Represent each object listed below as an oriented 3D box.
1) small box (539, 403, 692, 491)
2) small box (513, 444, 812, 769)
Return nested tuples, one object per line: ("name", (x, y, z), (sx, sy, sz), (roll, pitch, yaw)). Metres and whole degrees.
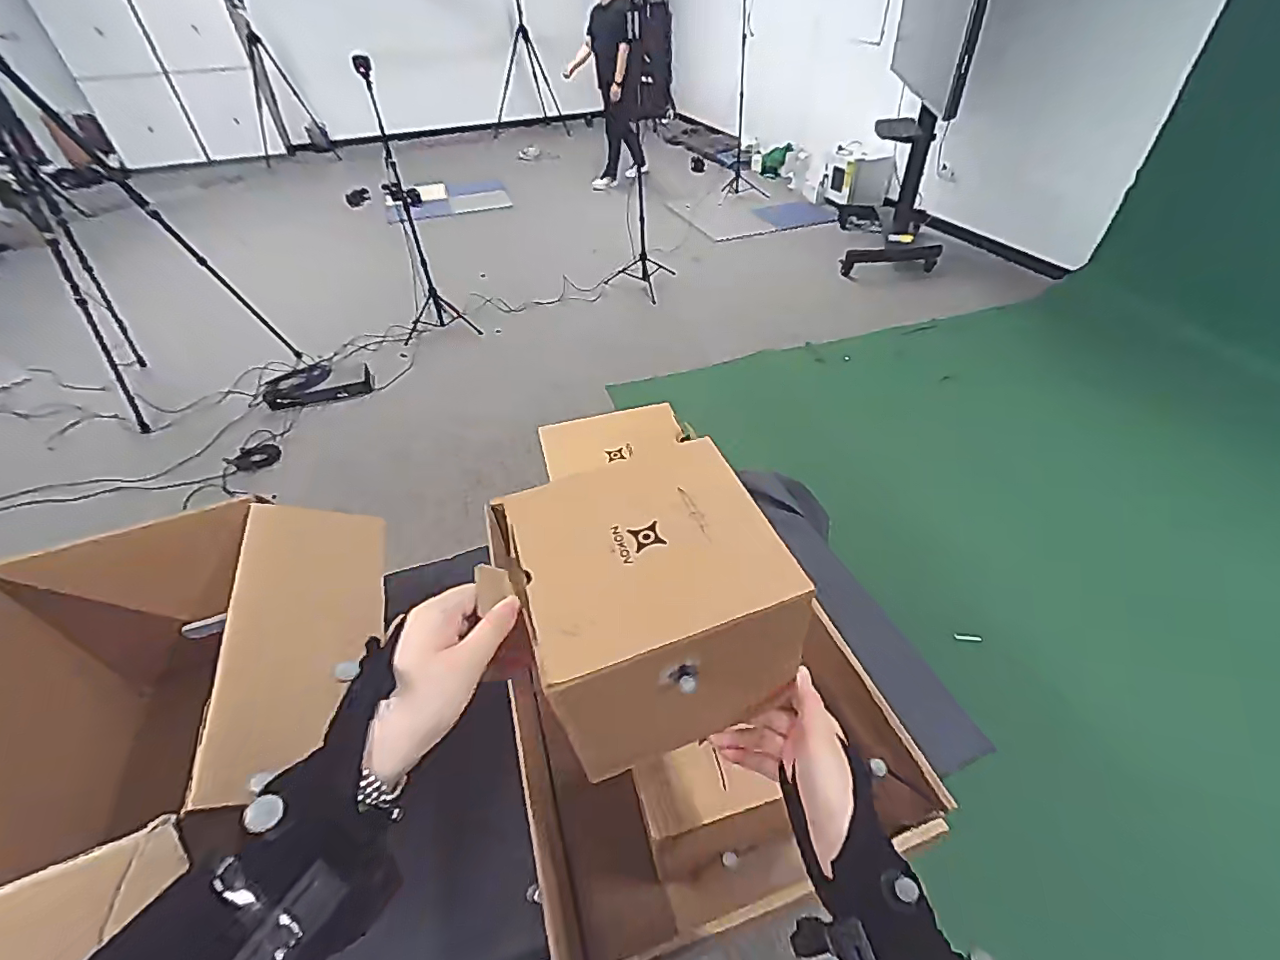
("small box", (-0.021, 0.028, 0.698), (0.179, 0.176, 0.168), (-12, 45, -10))
("small box", (0.014, 0.103, 0.441), (0.179, 0.176, 0.168), (-17, 46, -10))
